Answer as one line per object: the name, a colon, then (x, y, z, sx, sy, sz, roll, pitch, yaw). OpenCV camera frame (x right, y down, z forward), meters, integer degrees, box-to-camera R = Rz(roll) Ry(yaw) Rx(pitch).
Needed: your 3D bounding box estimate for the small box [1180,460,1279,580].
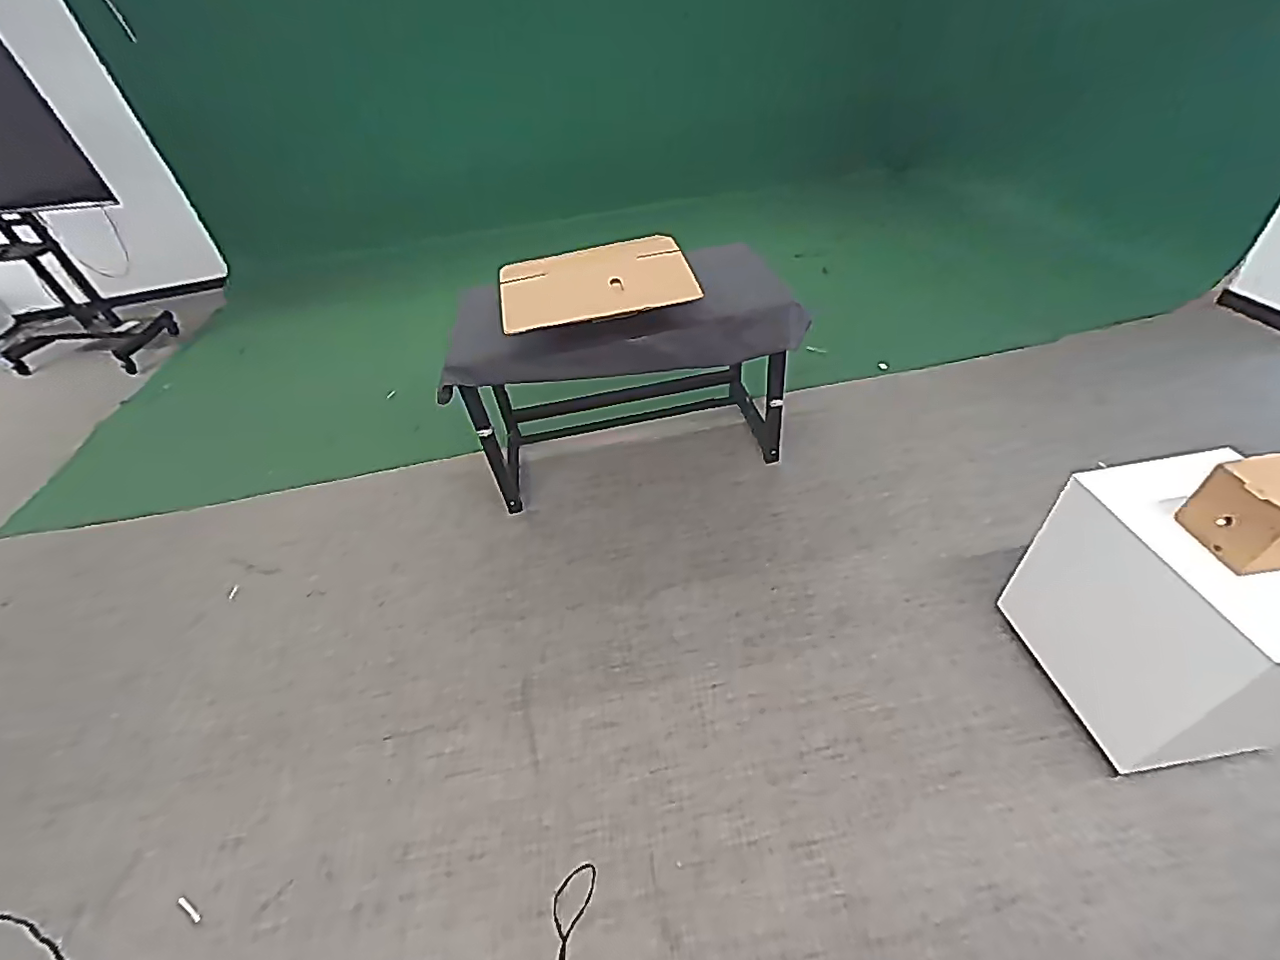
small box: (1.258, 0.083, 1.087, 0.179, 0.176, 0.168, -9, 42, -2)
